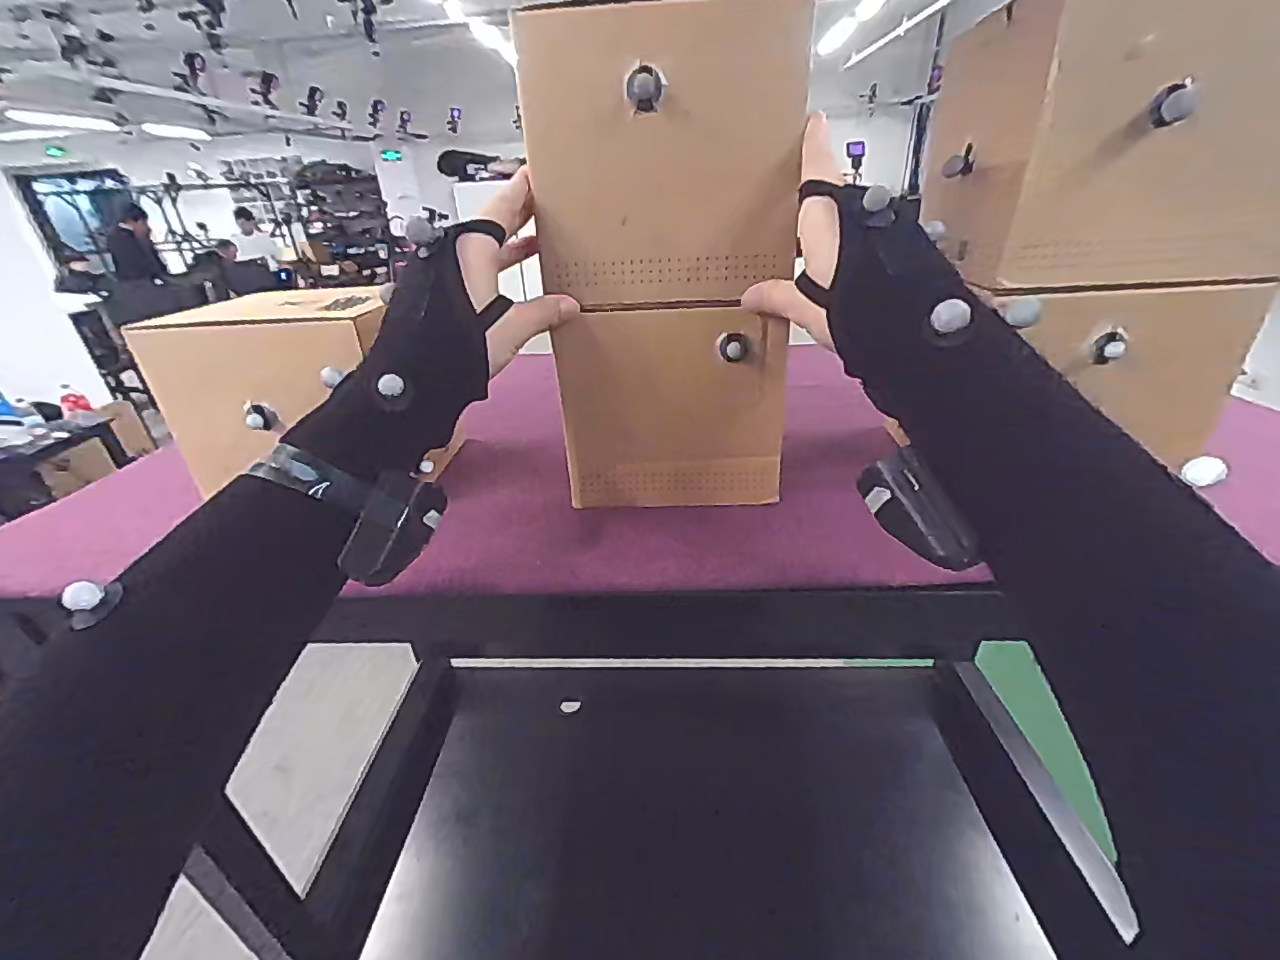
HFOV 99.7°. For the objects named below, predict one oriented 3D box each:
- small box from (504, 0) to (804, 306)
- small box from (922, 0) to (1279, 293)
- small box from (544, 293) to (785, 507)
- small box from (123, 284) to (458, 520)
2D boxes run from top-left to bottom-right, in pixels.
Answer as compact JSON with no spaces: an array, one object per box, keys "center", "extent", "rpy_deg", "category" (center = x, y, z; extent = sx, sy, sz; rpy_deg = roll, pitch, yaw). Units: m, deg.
[{"center":[0.016,-0.231,0.412],"extent":[0.179,0.176,0.168],"rpy_deg":[-1,29,4],"category":"small box"},{"center":[0.321,-0.235,0.384],"extent":[0.179,0.176,0.168],"rpy_deg":[-1,29,7],"category":"small box"},{"center":[0.024,-0.084,0.487],"extent":[0.179,0.176,0.168],"rpy_deg":[-2,28,3],"category":"small box"},{"center":[-0.286,-0.075,0.498],"extent":[0.179,0.176,0.168],"rpy_deg":[-3,28,2],"category":"small box"}]
